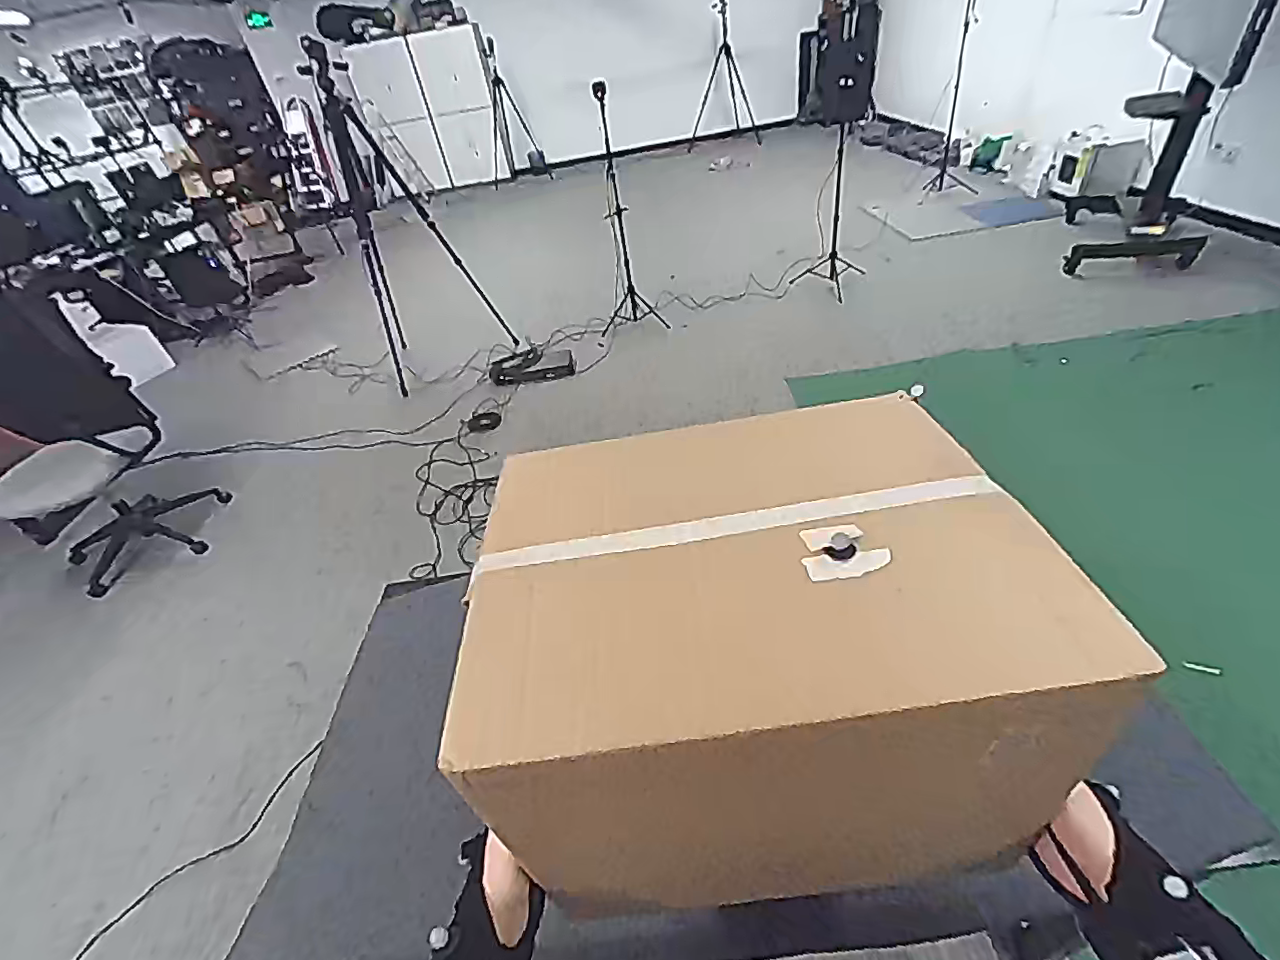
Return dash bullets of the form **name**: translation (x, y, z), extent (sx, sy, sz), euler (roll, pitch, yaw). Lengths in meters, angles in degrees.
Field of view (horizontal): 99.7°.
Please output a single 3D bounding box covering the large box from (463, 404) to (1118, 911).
- **large box**: translation (0.095, 0.163, 0.526), extent (0.408, 0.320, 0.320), euler (-9, 39, 2)
